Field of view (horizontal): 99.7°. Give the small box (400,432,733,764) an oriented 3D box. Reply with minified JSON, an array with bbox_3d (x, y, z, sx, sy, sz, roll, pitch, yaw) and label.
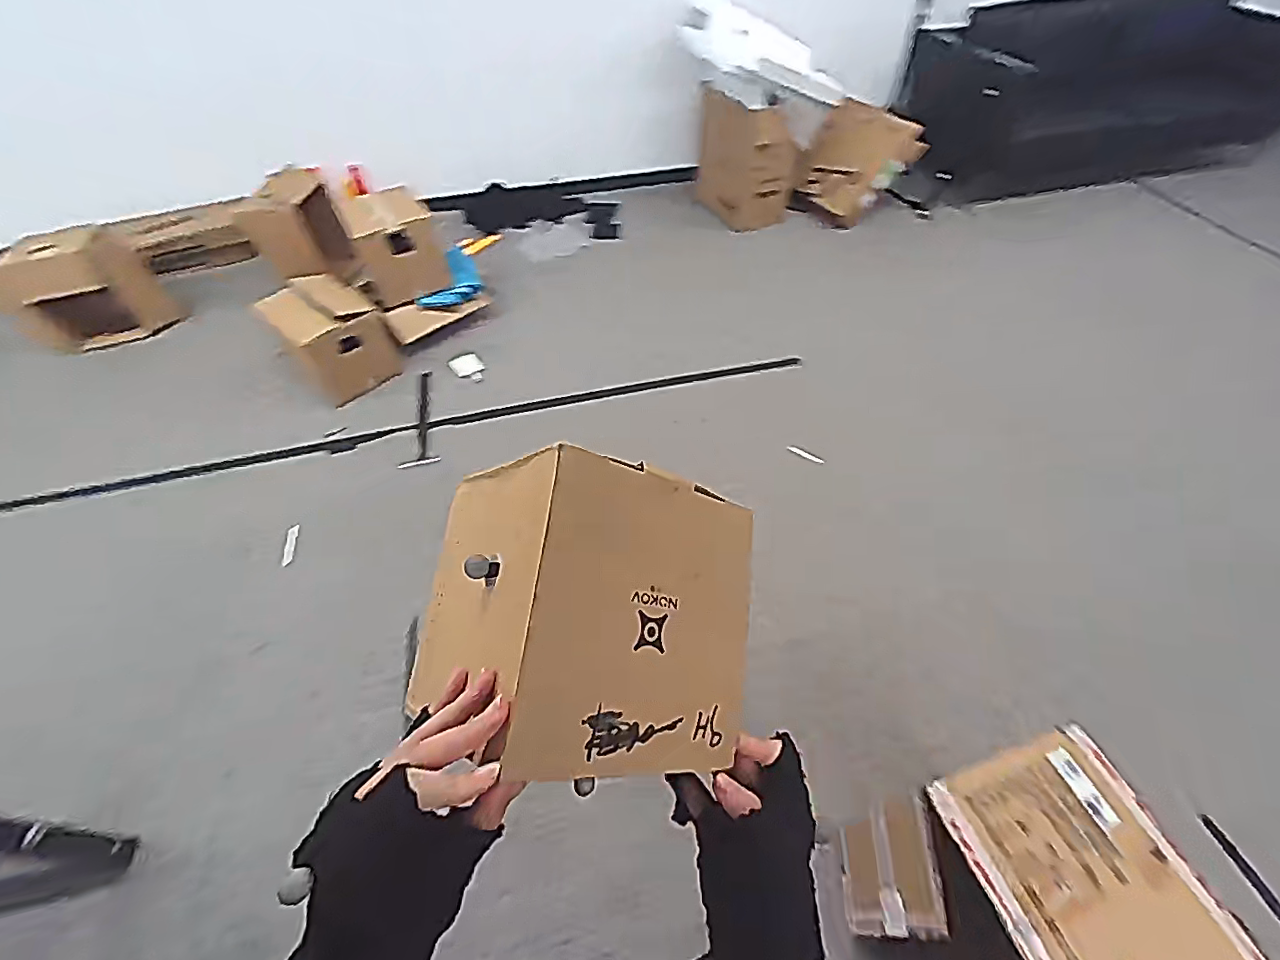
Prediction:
[{"bbox_3d":[-0.053,0.088,0.387,0.168,0.176,0.179,18,69,-34],"label":"small box"}]
